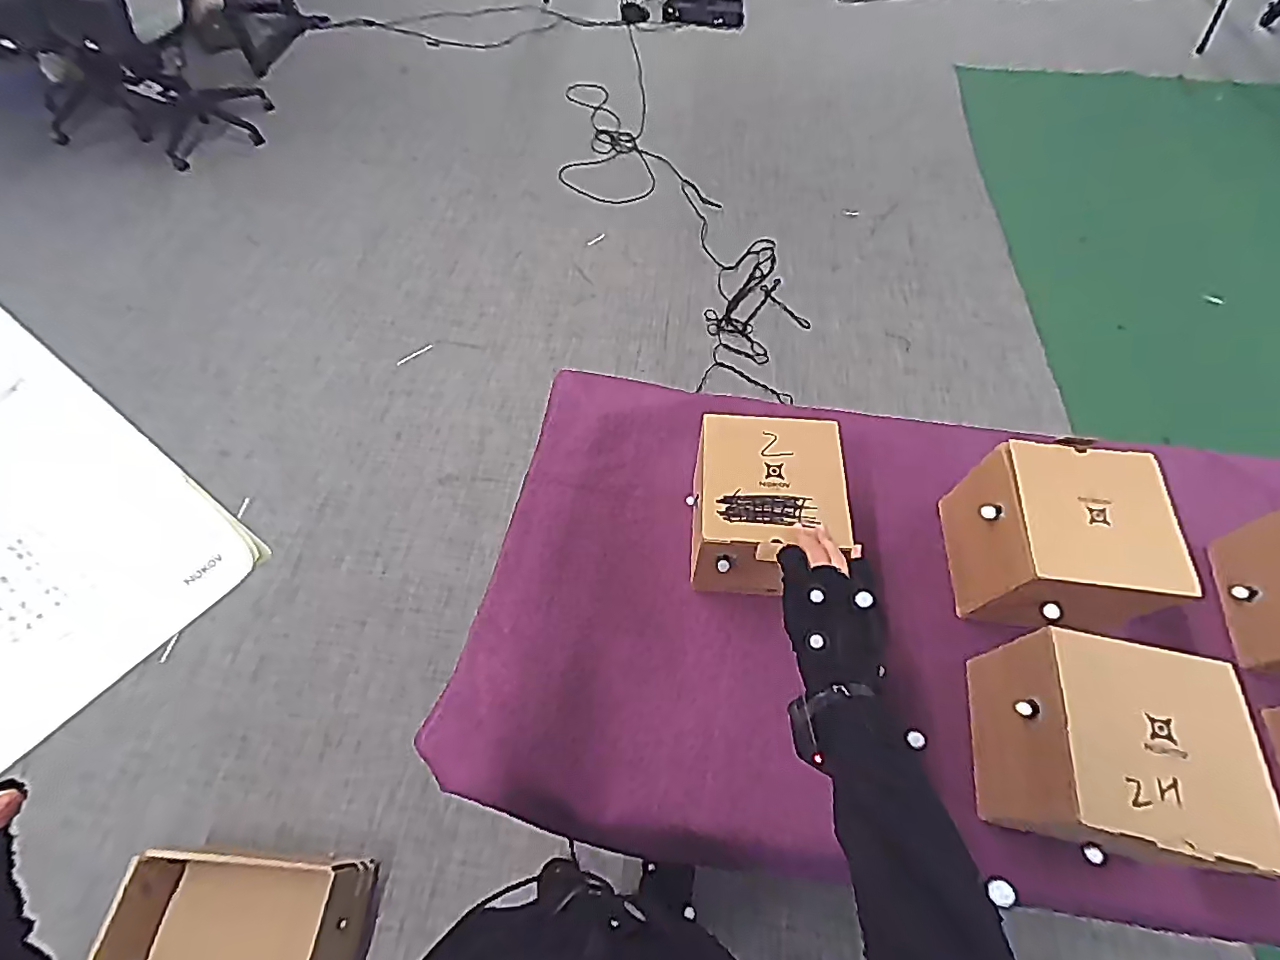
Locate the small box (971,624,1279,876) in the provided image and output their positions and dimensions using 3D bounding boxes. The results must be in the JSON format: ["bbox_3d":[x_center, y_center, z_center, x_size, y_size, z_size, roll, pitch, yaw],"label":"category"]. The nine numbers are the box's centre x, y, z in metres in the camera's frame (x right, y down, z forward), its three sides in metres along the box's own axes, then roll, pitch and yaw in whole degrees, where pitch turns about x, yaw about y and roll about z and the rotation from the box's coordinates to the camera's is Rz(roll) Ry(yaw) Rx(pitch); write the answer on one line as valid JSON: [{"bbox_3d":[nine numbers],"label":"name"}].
[{"bbox_3d":[0.466,0.272,0.553,0.168,0.176,0.179,11,60,8],"label":"small box"}]

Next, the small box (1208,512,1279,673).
[{"bbox_3d":[0.836,0.139,0.627,0.168,0.176,0.179,13,61,8],"label":"small box"}]

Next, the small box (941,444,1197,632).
[{"bbox_3d":[0.503,0.079,0.670,0.168,0.176,0.179,6,59,4],"label":"small box"}]
